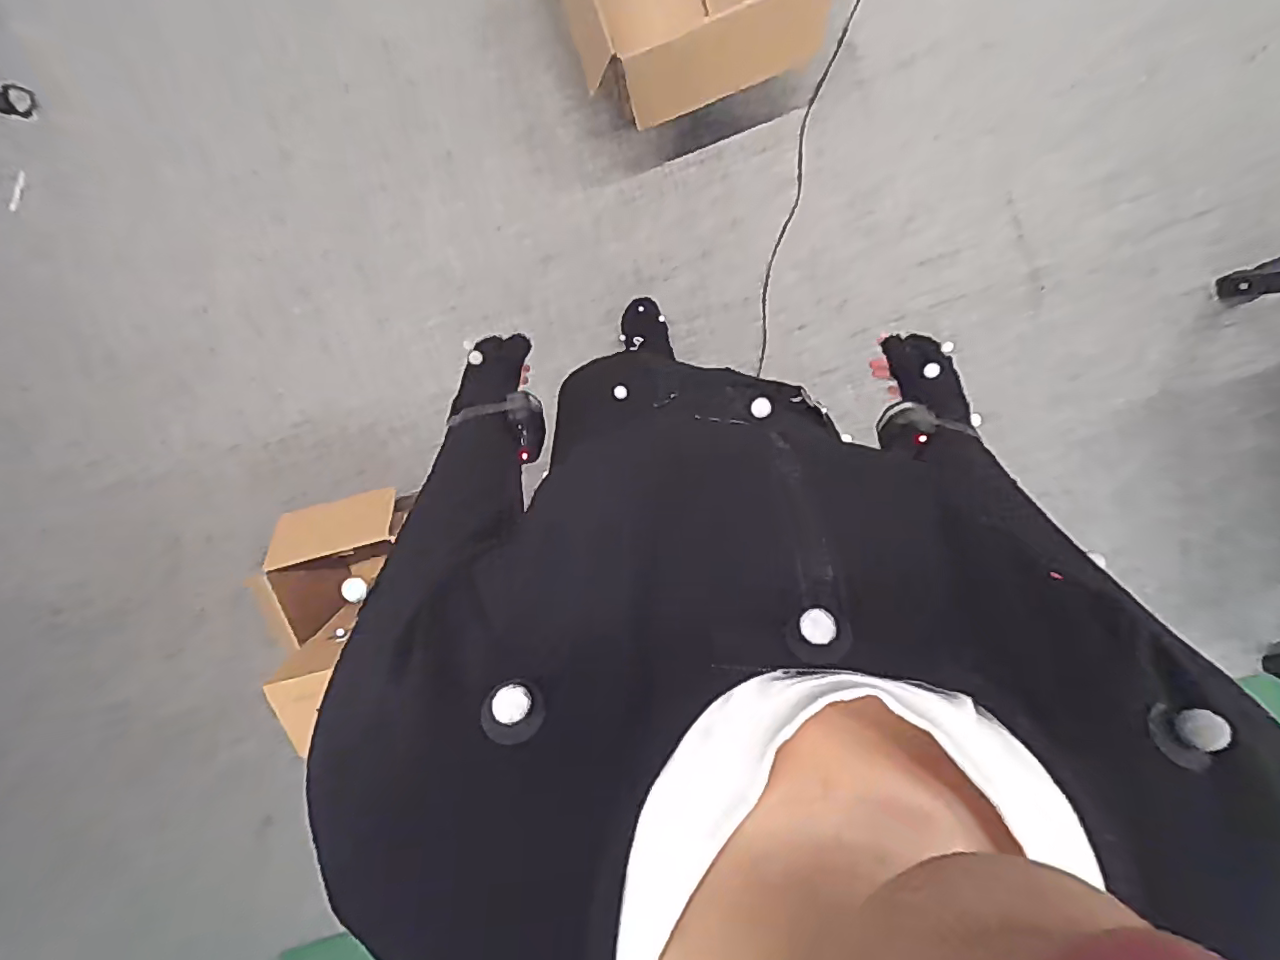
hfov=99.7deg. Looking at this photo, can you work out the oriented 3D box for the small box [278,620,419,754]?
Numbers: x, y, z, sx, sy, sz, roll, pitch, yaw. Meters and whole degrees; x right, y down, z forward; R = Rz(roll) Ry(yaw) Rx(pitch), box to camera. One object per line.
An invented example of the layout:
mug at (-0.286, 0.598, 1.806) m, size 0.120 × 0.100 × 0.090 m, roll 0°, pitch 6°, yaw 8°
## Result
small box at (-0.589, 0.422, 1.121) m, size 0.168 × 0.176 × 0.179 m, roll -16°, pitch 106°, yaw 2°
